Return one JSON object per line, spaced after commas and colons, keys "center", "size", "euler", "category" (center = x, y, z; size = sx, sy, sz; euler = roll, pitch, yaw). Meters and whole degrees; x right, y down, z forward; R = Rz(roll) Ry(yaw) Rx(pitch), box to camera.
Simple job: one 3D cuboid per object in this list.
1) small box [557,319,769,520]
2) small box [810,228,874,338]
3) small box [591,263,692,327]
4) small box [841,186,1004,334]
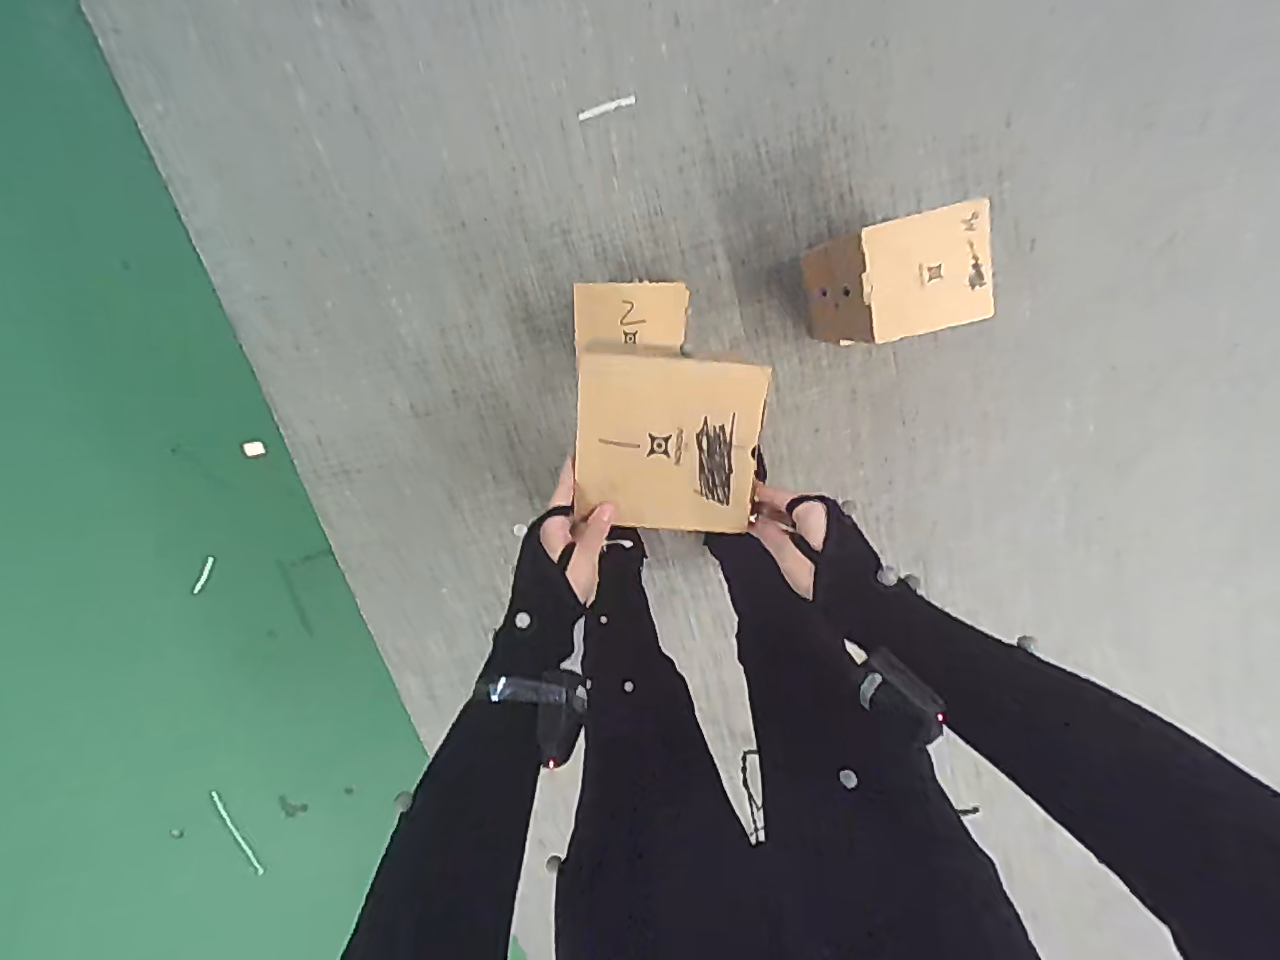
{"center": [0.016, -0.073, 0.566], "size": [0.179, 0.176, 0.168], "euler": [6, 109, -3], "category": "small box"}
{"center": [0.417, -0.366, 0.976], "size": [0.168, 0.176, 0.179], "euler": [-12, 106, 7], "category": "small box"}
{"center": [0.001, -0.300, 1.015], "size": [0.168, 0.176, 0.179], "euler": [7, 108, 0], "category": "small box"}
{"center": [0.414, -0.321, 0.818], "size": [0.179, 0.176, 0.168], "euler": [-10, 107, 7], "category": "small box"}
